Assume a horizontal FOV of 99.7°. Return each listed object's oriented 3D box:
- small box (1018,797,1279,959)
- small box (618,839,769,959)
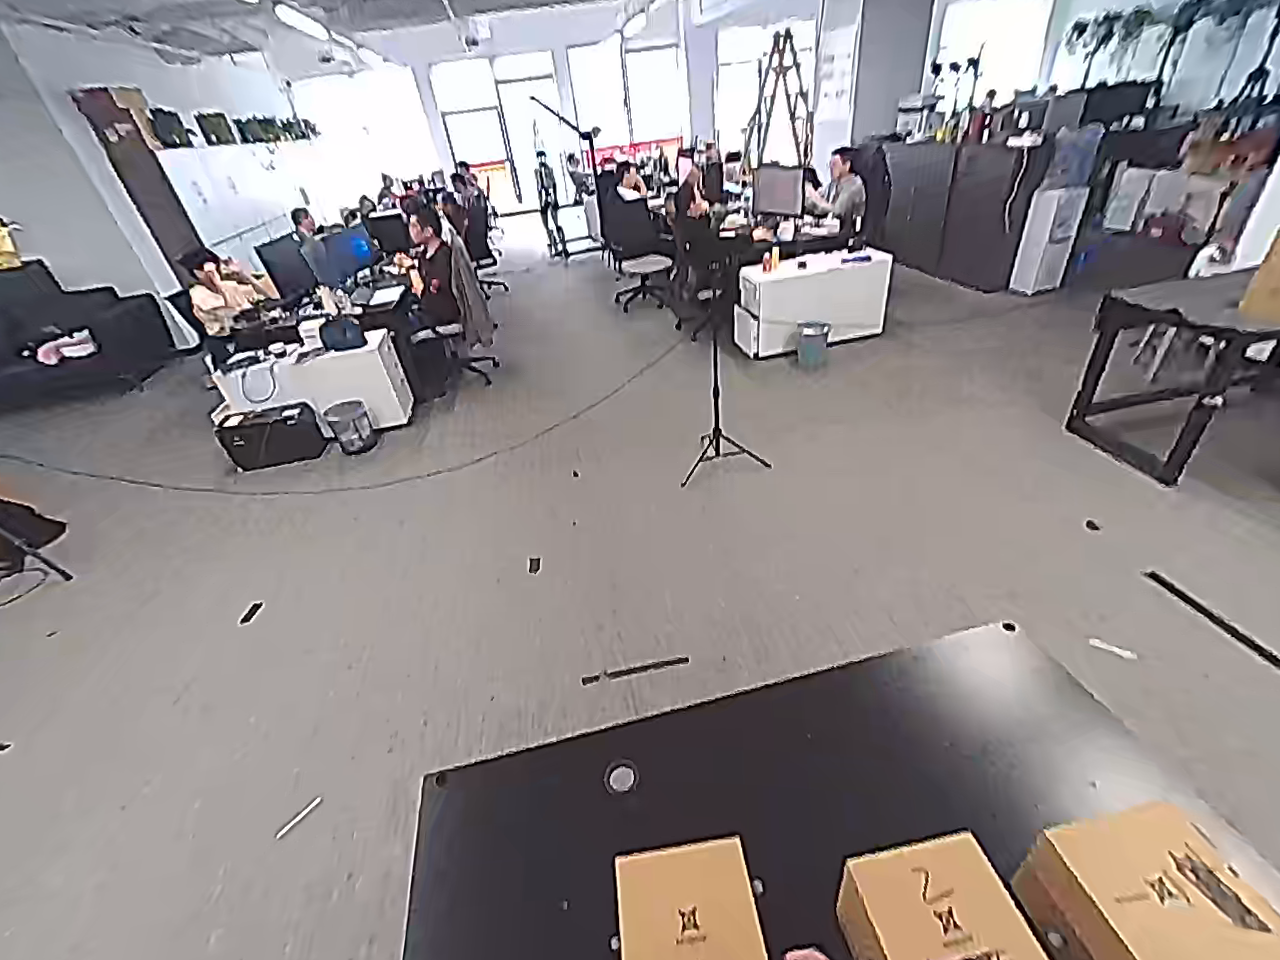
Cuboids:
[{"bbox_3d":[0.607,0.524,0.652,0.179,0.176,0.168,-12,34,-4],"label":"small box"},{"bbox_3d":[0.068,0.590,0.672,0.168,0.176,0.179,-10,34,-1],"label":"small box"}]
